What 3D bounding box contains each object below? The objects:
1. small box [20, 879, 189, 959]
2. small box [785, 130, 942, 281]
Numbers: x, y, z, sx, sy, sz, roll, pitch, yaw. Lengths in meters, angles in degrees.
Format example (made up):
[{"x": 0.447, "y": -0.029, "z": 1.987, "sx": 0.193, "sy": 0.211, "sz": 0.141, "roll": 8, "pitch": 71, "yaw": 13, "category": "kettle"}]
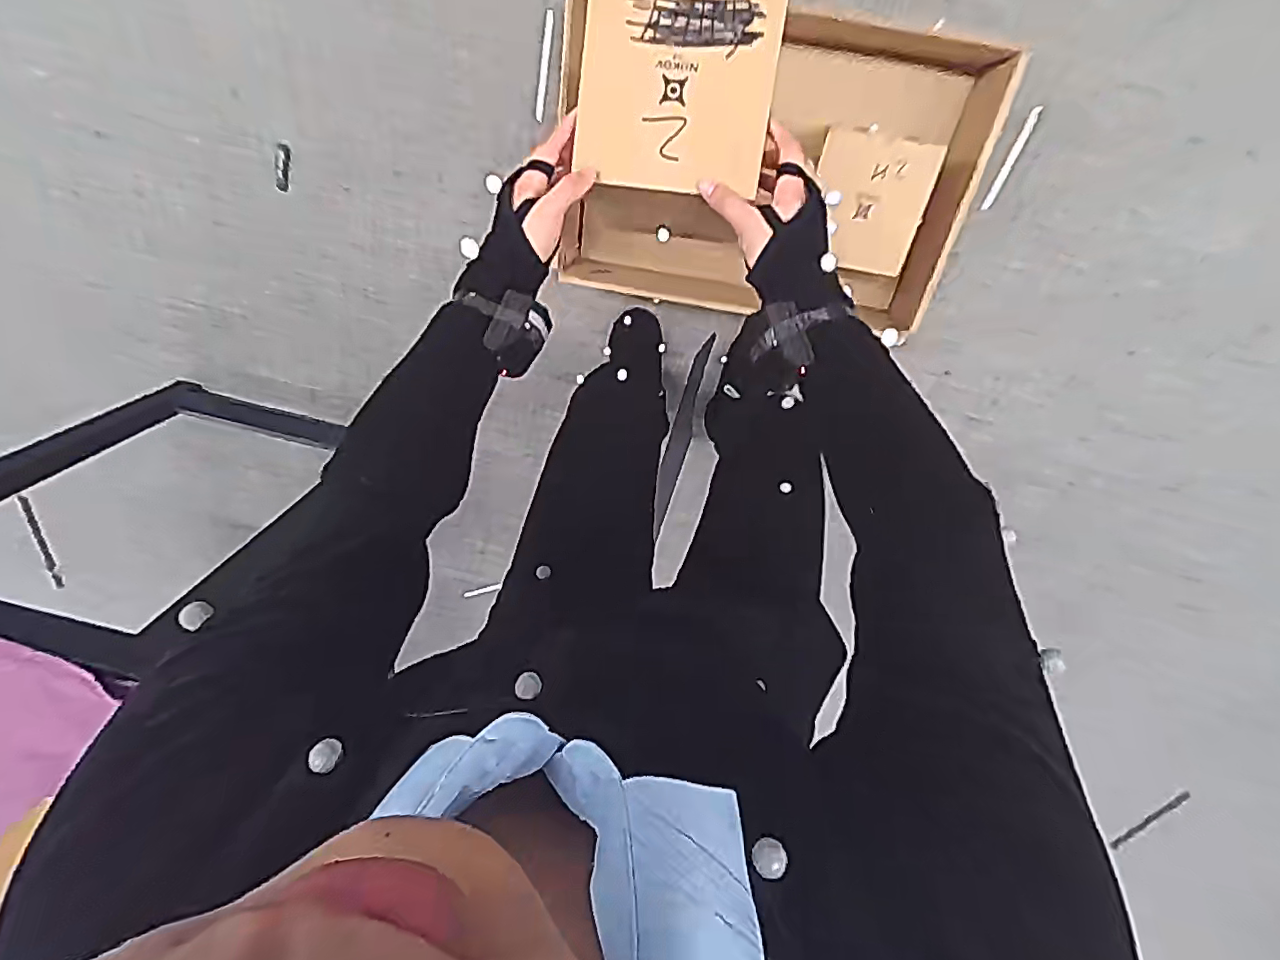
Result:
[{"x": -1.060, "y": 0.927, "z": 1.087, "sx": 0.168, "sy": 0.176, "sz": 0.179, "roll": 15, "pitch": 121, "yaw": -1, "category": "small box"}, {"x": 0.336, "y": -0.436, "z": 0.859, "sx": 0.168, "sy": 0.176, "sz": 0.179, "roll": 12, "pitch": 121, "yaw": 1, "category": "small box"}]
